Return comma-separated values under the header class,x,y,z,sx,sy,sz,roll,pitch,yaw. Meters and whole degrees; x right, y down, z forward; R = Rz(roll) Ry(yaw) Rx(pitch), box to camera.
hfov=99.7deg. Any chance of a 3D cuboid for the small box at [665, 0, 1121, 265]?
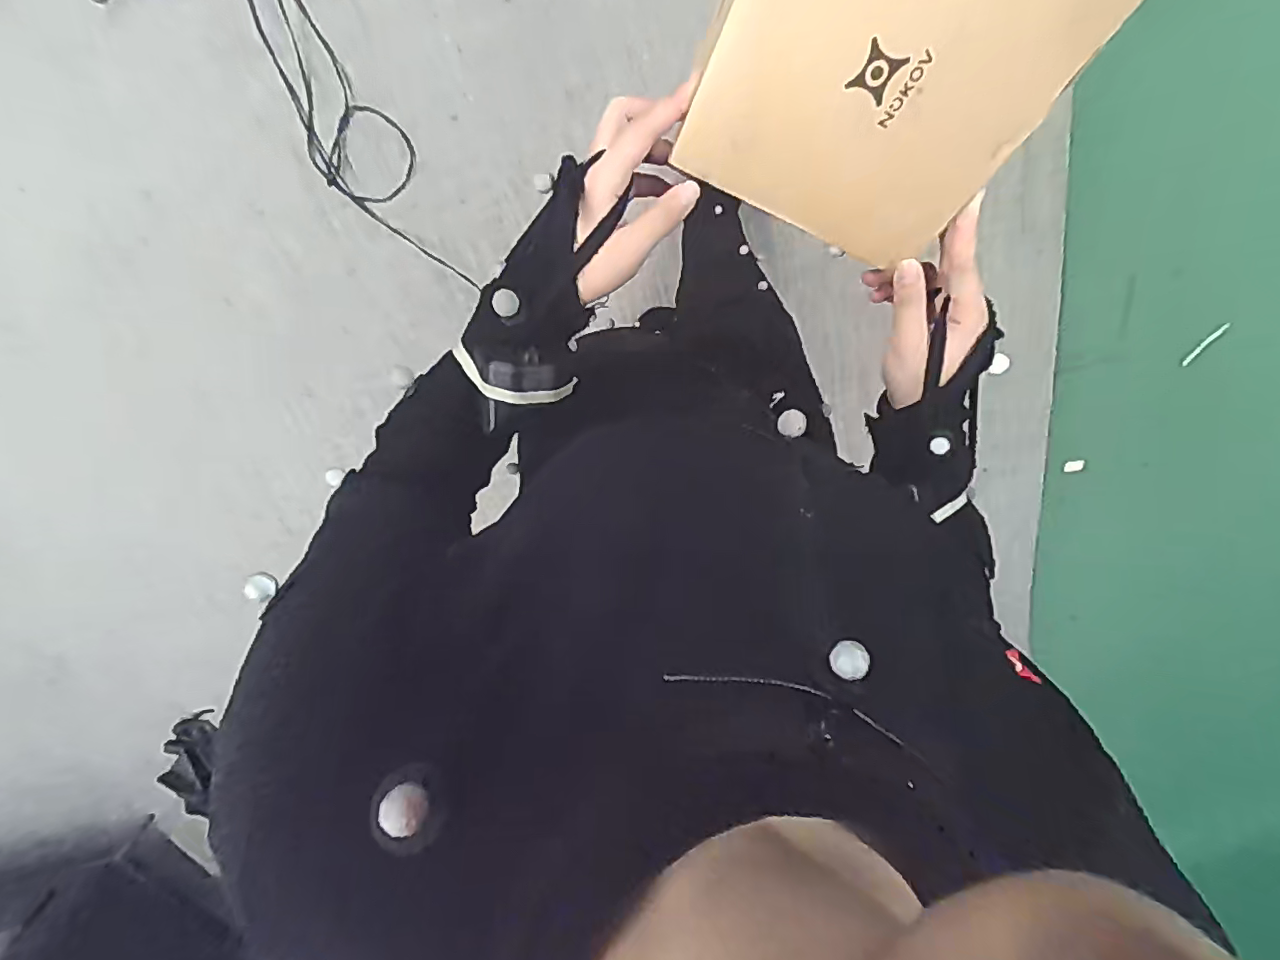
class,x,y,z,sx,sy,sz,roll,pitch,yaw
small box,0.131,-0.274,0.334,0.179,0.176,0.168,19,137,-13
